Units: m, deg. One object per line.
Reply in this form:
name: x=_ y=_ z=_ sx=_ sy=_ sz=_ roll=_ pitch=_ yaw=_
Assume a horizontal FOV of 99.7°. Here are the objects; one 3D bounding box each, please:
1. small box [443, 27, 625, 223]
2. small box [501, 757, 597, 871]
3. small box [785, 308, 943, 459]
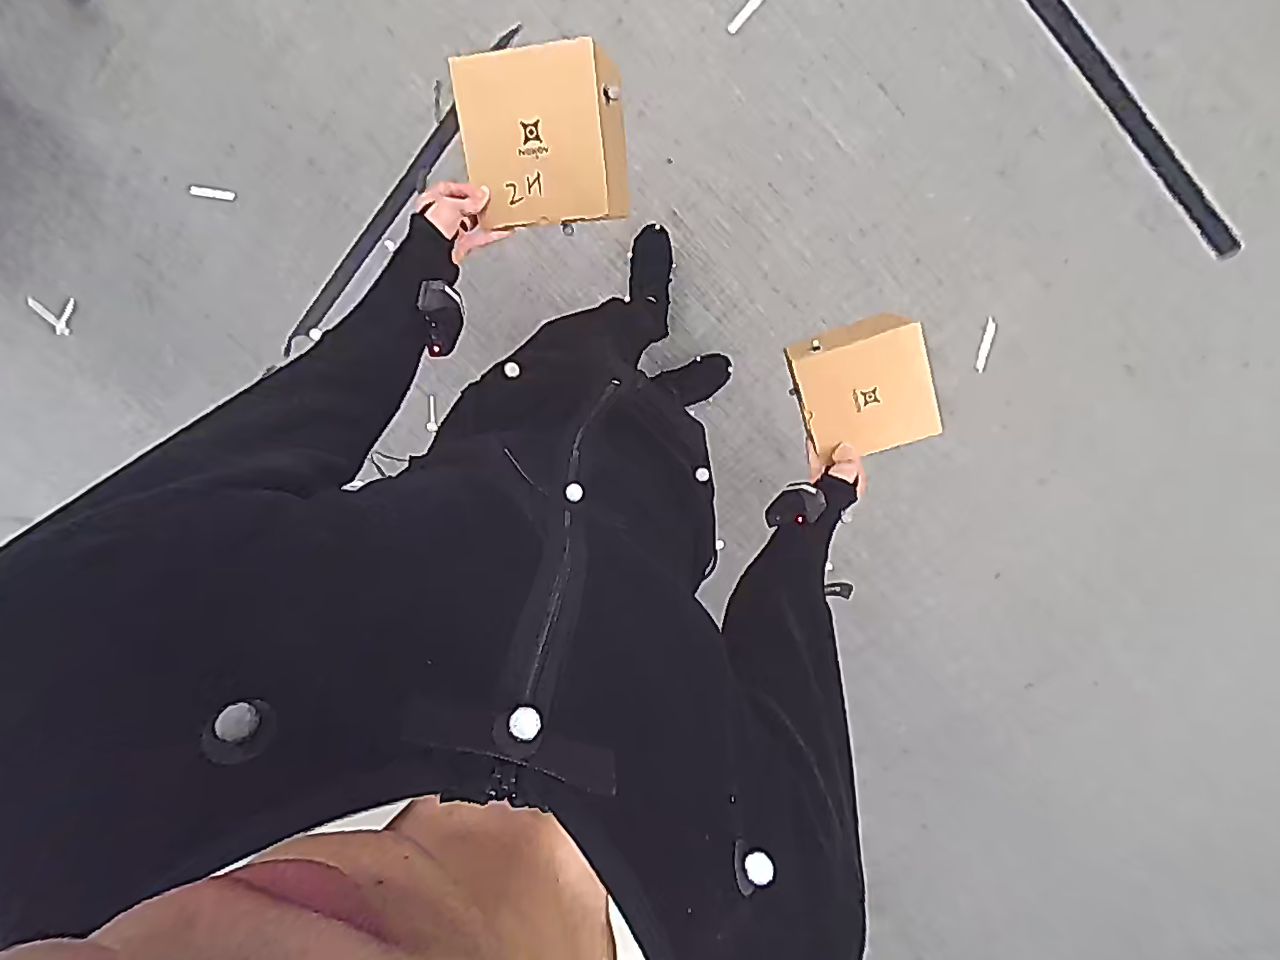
small box: x=-0.118 y=-0.427 z=0.682 sx=0.168 sy=0.176 sz=0.179 roll=-1 pitch=116 yaw=10
small box: x=-0.232 y=0.885 z=1.441 sx=0.168 sy=0.176 sz=0.179 roll=-34 pitch=104 yaw=15
small box: x=0.333 y=-0.154 z=0.832 sx=0.179 sy=0.176 sz=0.168 roll=-16 pitch=107 yaw=17
